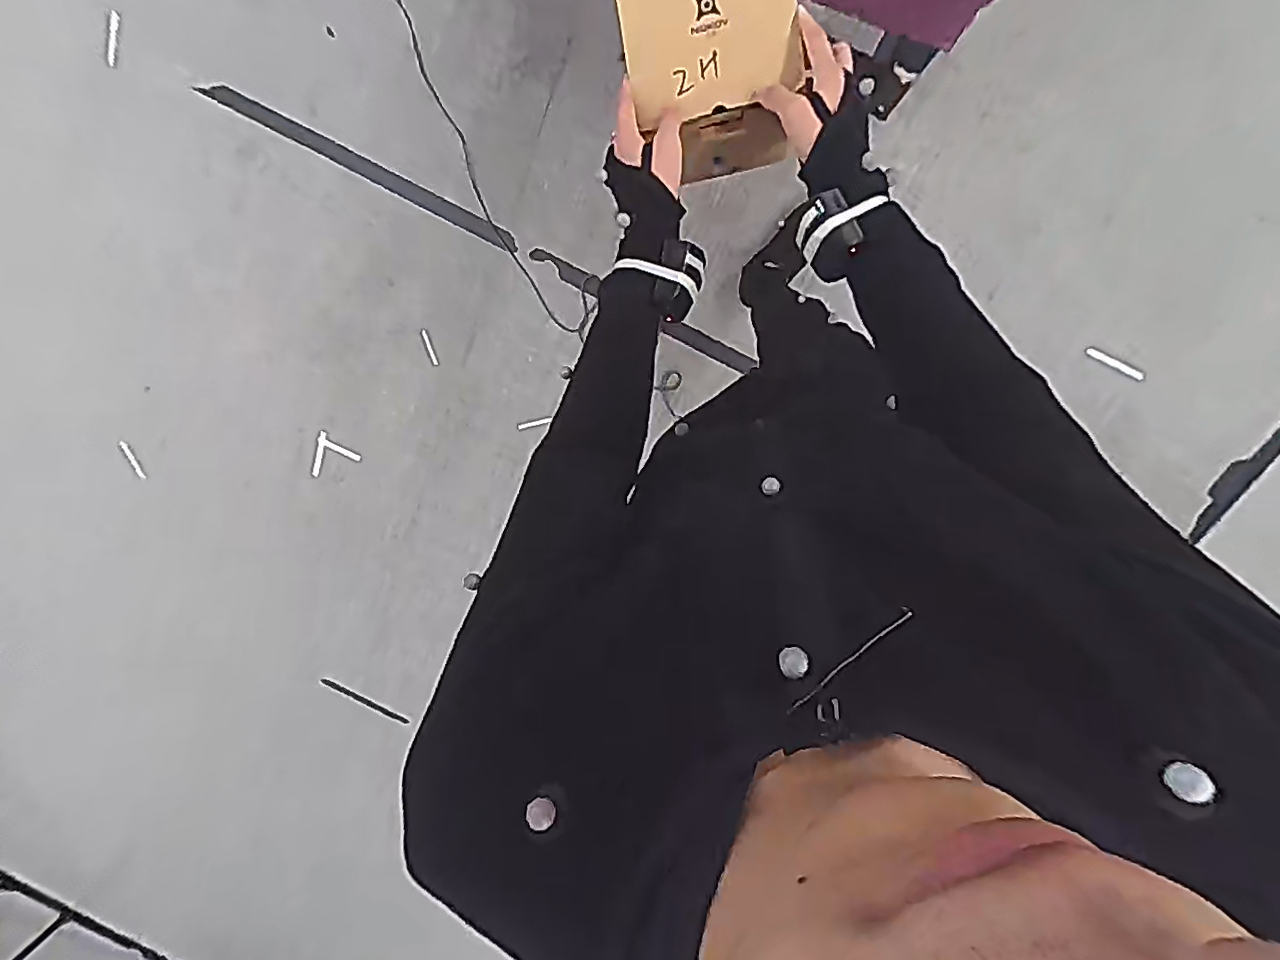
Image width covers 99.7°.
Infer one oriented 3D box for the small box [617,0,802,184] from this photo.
[{"bbox_3d":[0.071,-0.459,0.591,0.168,0.176,0.179,-9,99,9],"label":"small box"}]
